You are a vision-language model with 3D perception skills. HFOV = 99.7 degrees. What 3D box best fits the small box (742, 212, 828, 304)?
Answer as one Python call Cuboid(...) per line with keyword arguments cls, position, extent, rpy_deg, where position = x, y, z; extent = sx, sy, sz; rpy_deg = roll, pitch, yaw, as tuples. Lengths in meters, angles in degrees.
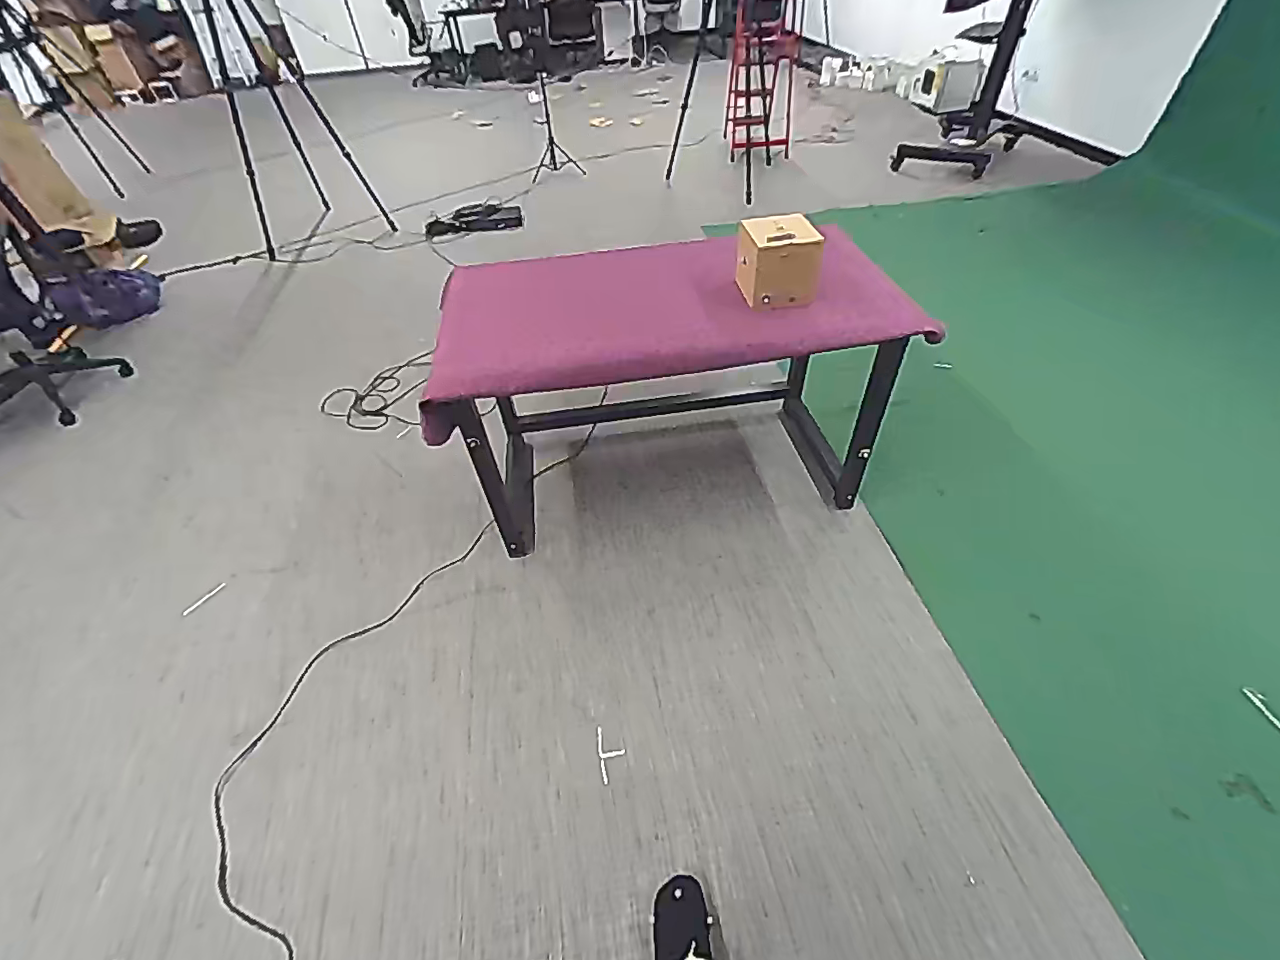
Cuboid(cls="small box", position=(0.365, -0.566, 1.395), extent=(0.168, 0.176, 0.179), rpy_deg=(-4, 47, -2))
